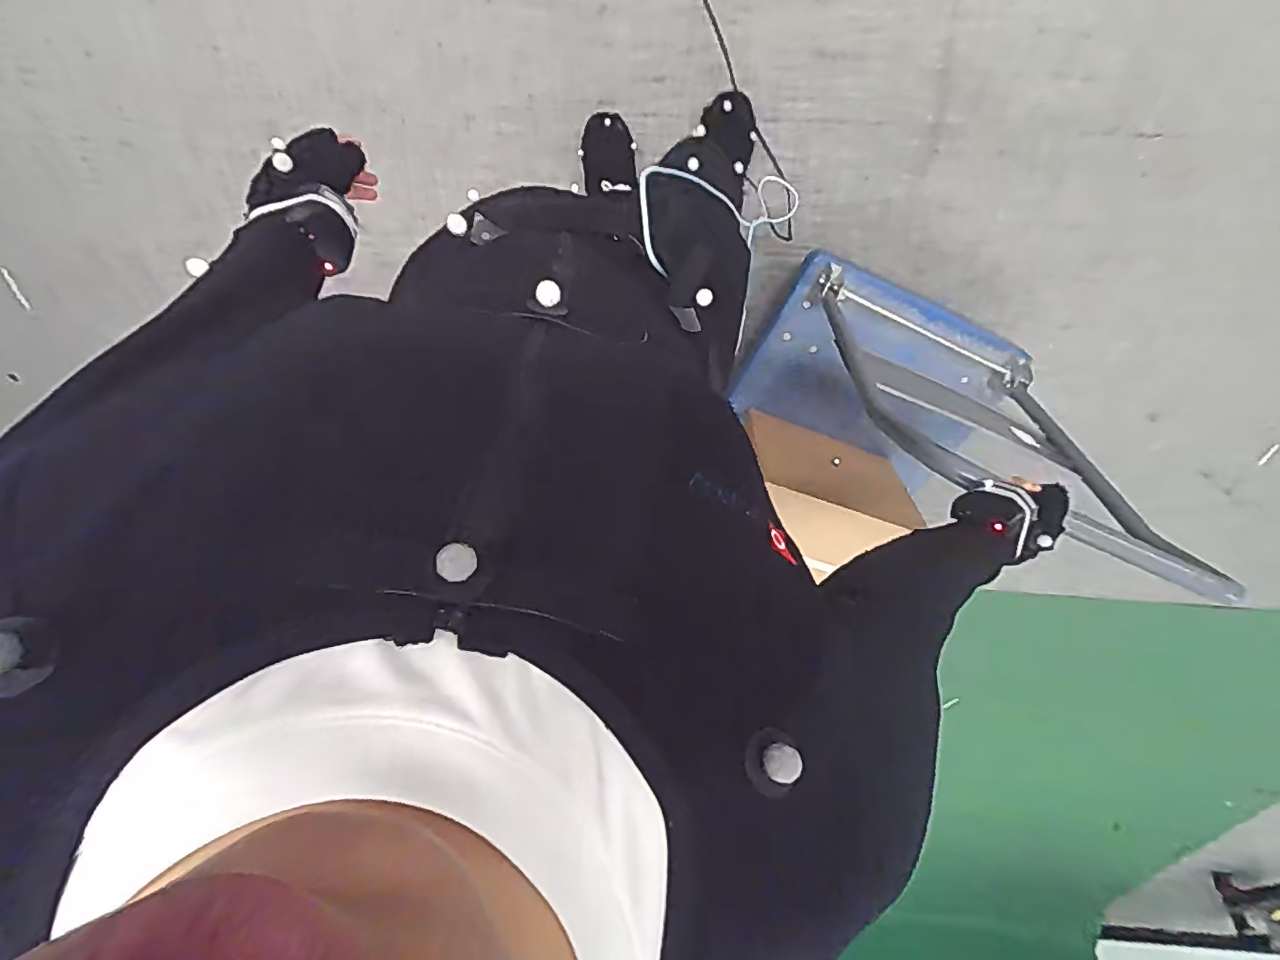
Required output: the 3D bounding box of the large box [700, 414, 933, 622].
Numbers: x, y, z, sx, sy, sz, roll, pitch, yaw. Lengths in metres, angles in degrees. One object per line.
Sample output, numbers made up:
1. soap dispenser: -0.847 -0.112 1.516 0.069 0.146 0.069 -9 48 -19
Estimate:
1. large box: 0.389 0.088 1.313 0.408 0.320 0.320 17 126 -9
